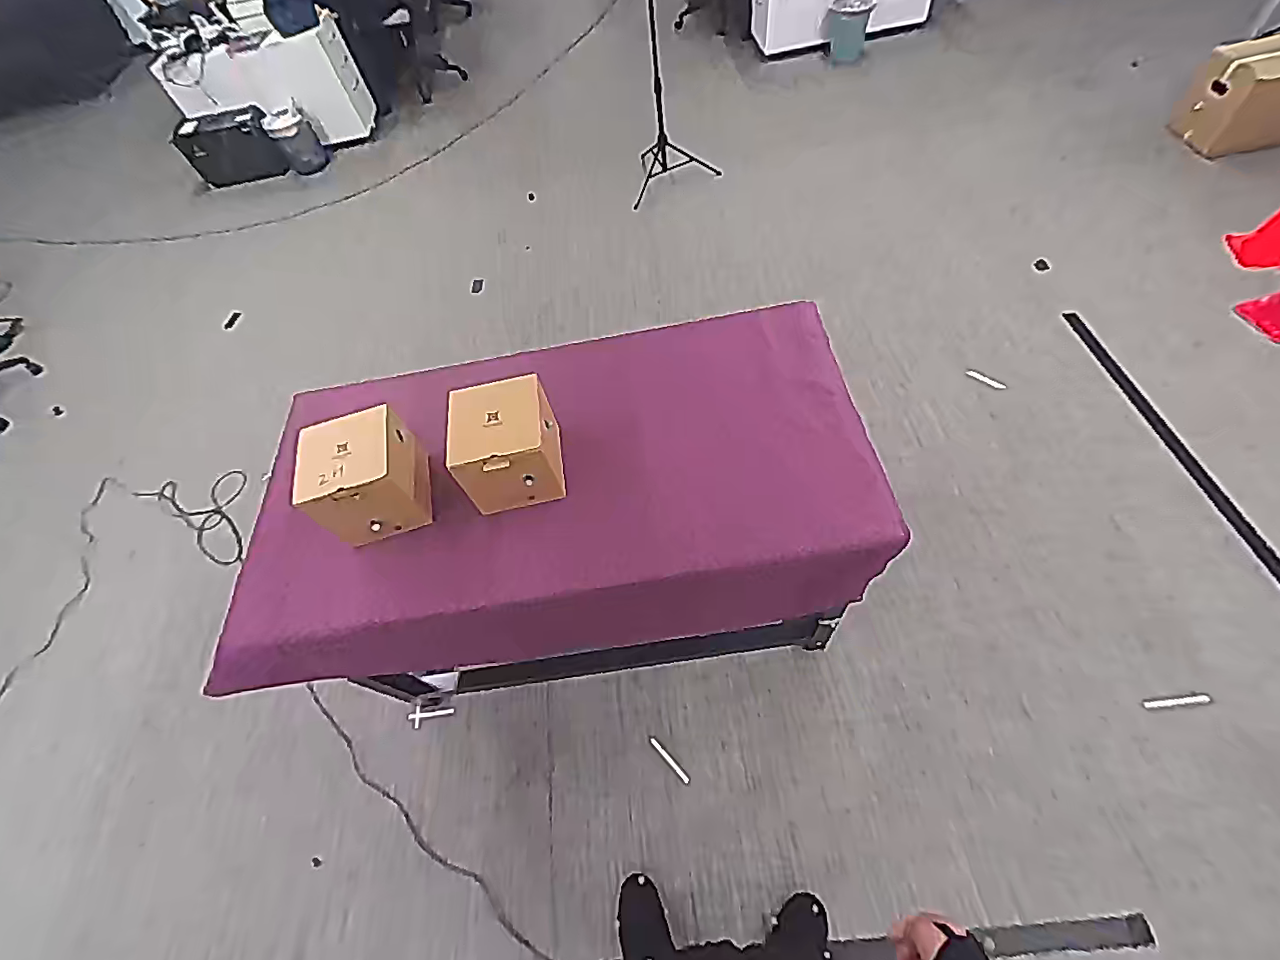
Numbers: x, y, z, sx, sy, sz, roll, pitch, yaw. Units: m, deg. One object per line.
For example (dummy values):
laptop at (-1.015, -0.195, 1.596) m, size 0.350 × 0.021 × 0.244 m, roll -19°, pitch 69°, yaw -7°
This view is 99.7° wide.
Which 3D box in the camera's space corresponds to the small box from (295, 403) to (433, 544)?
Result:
small box at (-0.502, -0.008, 1.007) m, size 0.168 × 0.176 × 0.179 m, roll -17°, pitch 57°, yaw -2°

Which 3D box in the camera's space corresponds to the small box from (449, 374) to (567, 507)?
small box at (-0.238, -0.065, 1.003) m, size 0.168 × 0.176 × 0.179 m, roll -11°, pitch 56°, yaw 1°
